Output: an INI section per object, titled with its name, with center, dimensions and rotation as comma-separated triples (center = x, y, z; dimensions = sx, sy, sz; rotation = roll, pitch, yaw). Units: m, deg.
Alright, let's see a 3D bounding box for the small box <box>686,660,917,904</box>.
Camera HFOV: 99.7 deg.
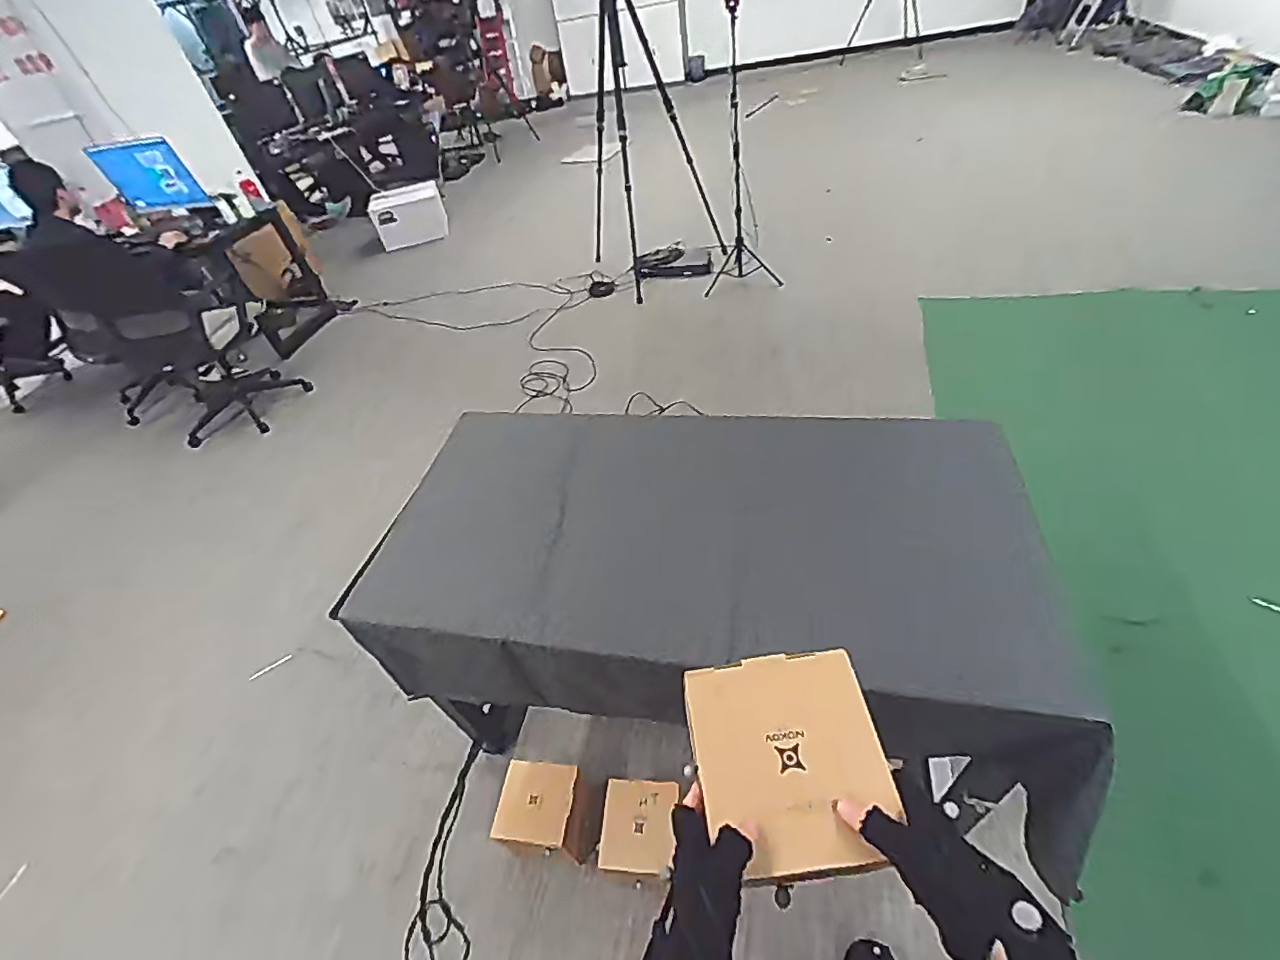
[small box]
center = 0.138, 0.304, 0.541
dimensions = 0.168, 0.176, 0.179
rotation = -8, 50, 1
